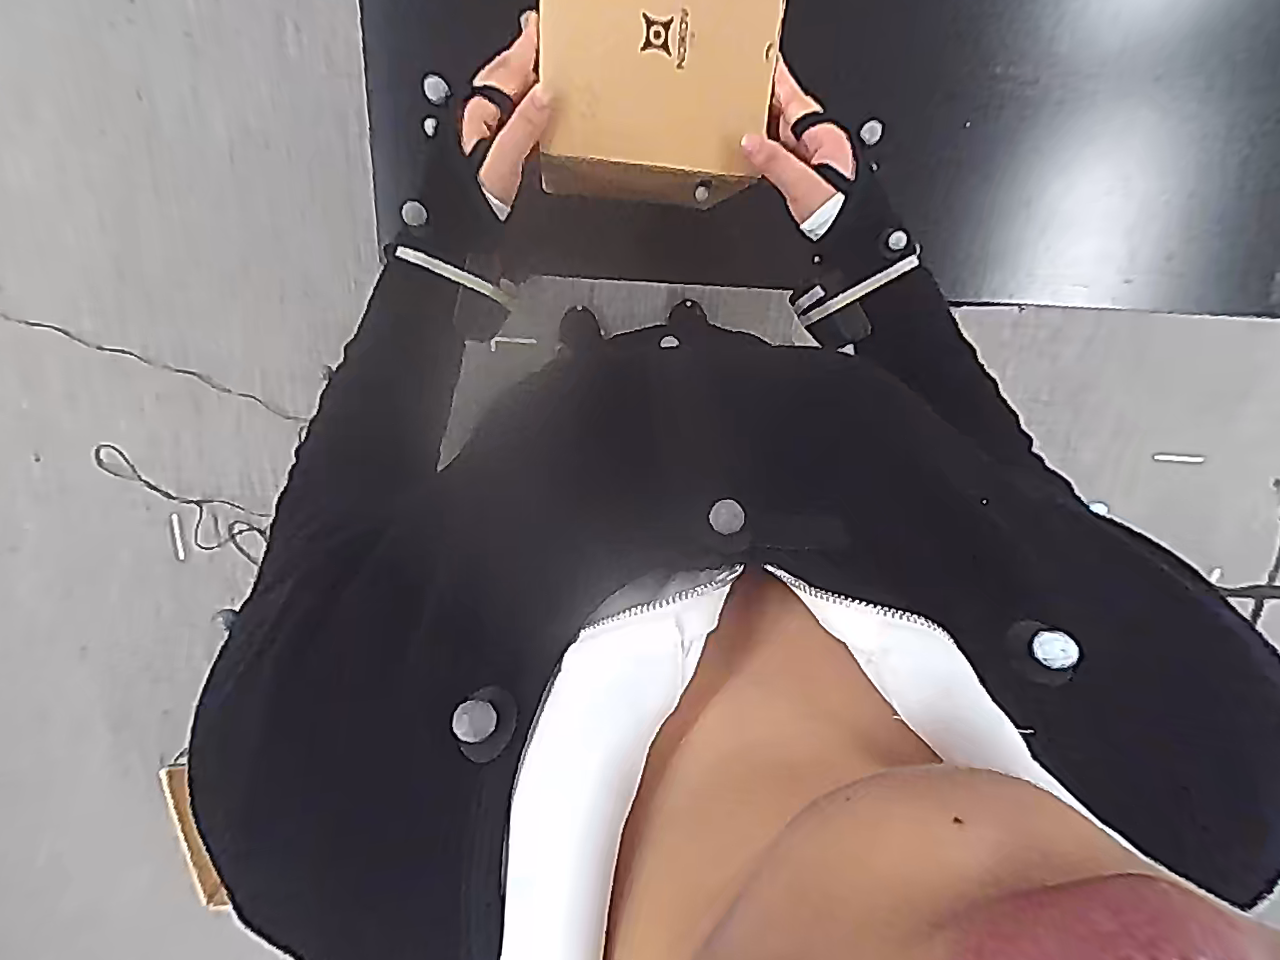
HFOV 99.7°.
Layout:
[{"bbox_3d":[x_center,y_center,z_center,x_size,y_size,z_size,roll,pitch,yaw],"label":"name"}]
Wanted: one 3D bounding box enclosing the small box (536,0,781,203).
[{"bbox_3d":[0.003,-0.347,0.466,0.179,0.176,0.168,1,109,-10],"label":"small box"}]
